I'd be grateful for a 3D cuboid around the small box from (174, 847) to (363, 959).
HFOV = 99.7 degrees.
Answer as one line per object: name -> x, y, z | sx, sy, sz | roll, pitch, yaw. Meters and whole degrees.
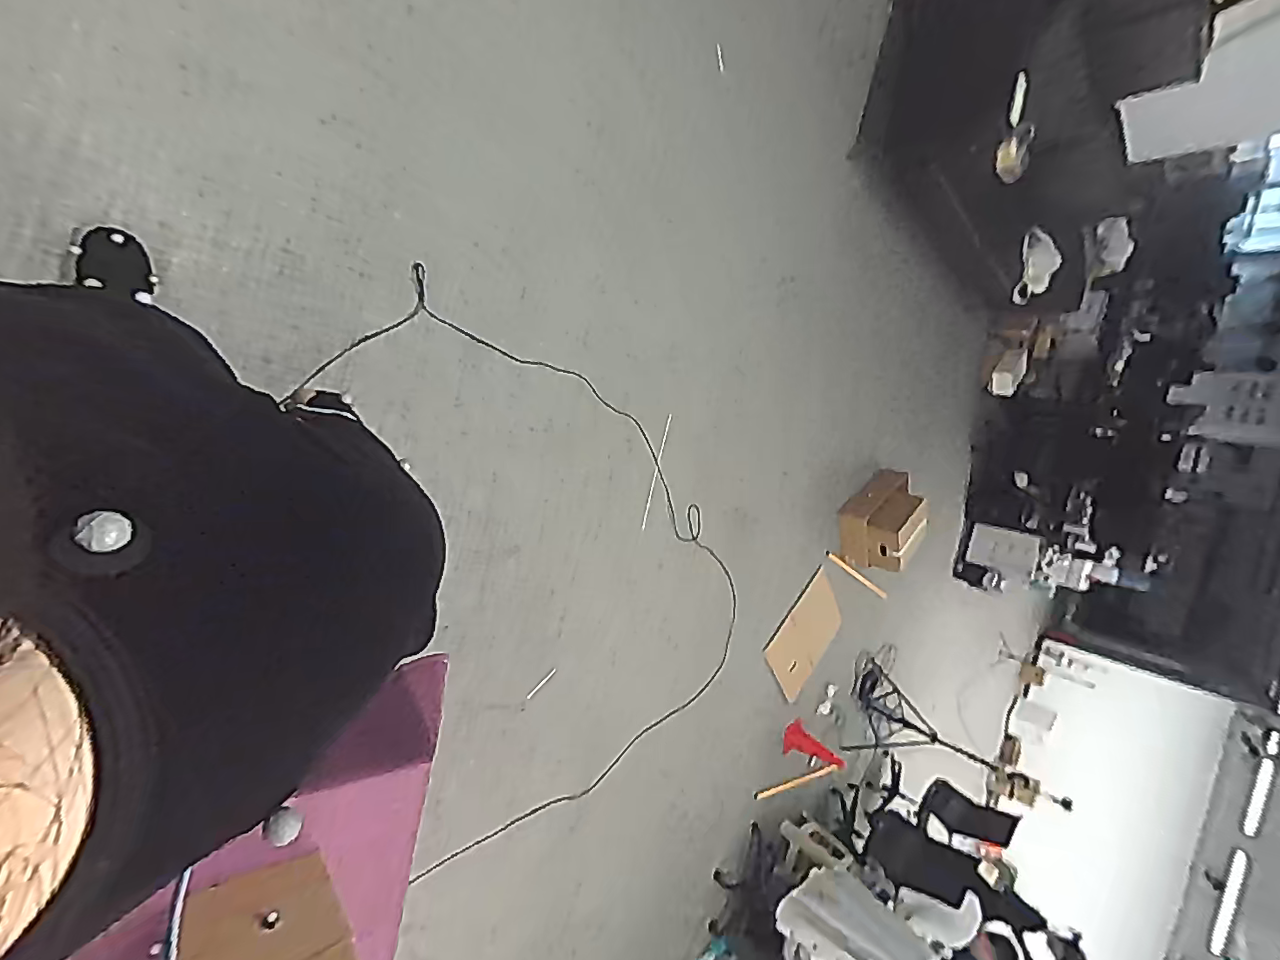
small box -> -0.488, 0.632, 0.700 | 0.179, 0.176, 0.168 | 5, 98, -45
